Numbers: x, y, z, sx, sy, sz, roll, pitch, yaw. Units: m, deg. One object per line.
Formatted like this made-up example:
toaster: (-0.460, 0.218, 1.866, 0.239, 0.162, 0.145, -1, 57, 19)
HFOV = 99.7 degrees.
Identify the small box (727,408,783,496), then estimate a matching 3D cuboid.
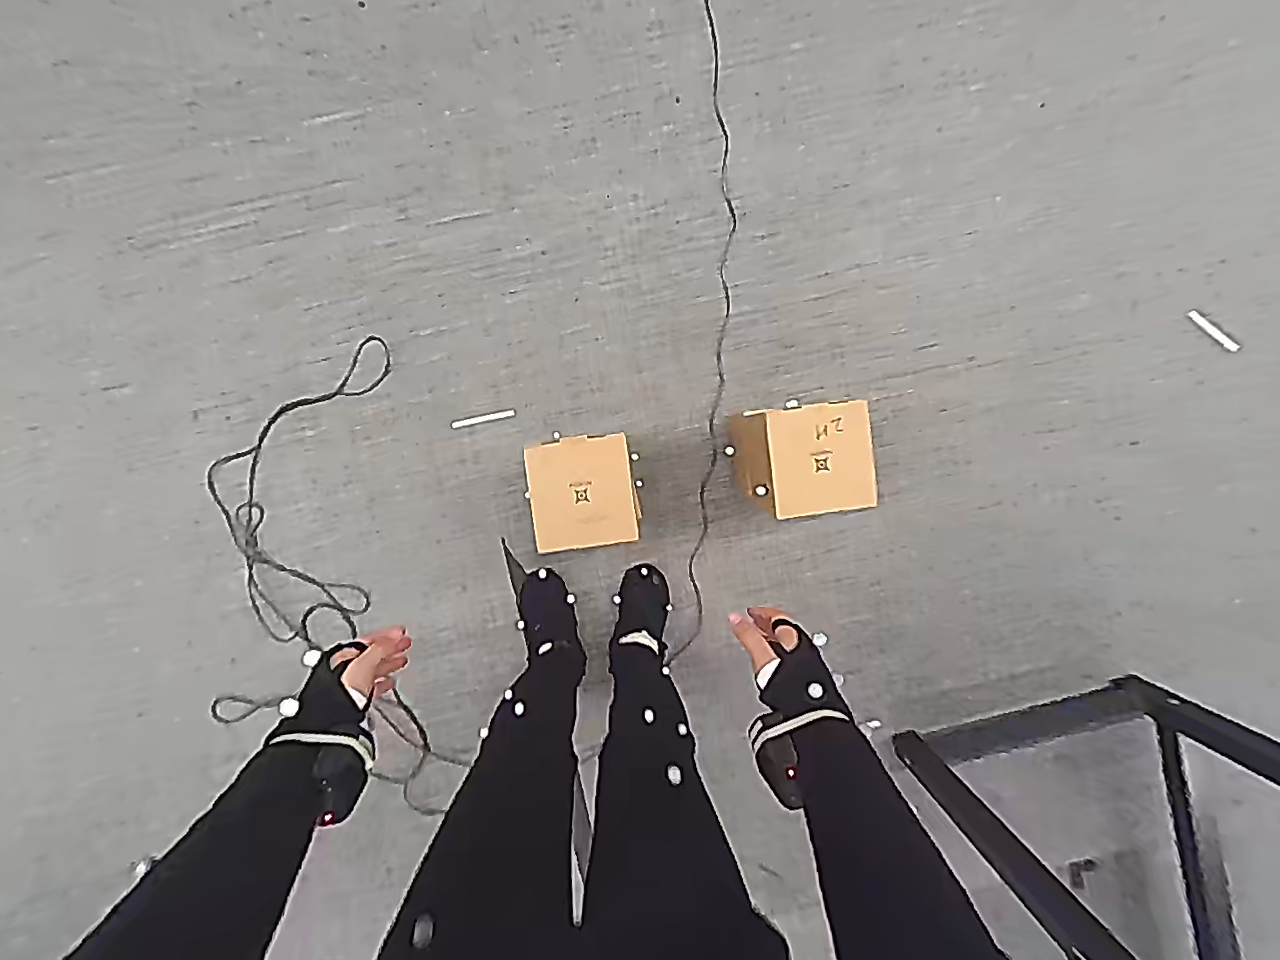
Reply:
small box: (0.284, -0.062, 1.104, 0.179, 0.176, 0.168, -5, 94, -1)

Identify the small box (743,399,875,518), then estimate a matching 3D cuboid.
small box: (0.284, -0.040, 0.940, 0.168, 0.176, 0.179, -8, 94, -2)

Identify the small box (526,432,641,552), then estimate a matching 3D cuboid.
small box: (-0.092, 0.014, 0.939, 0.168, 0.176, 0.179, -8, 95, 0)
